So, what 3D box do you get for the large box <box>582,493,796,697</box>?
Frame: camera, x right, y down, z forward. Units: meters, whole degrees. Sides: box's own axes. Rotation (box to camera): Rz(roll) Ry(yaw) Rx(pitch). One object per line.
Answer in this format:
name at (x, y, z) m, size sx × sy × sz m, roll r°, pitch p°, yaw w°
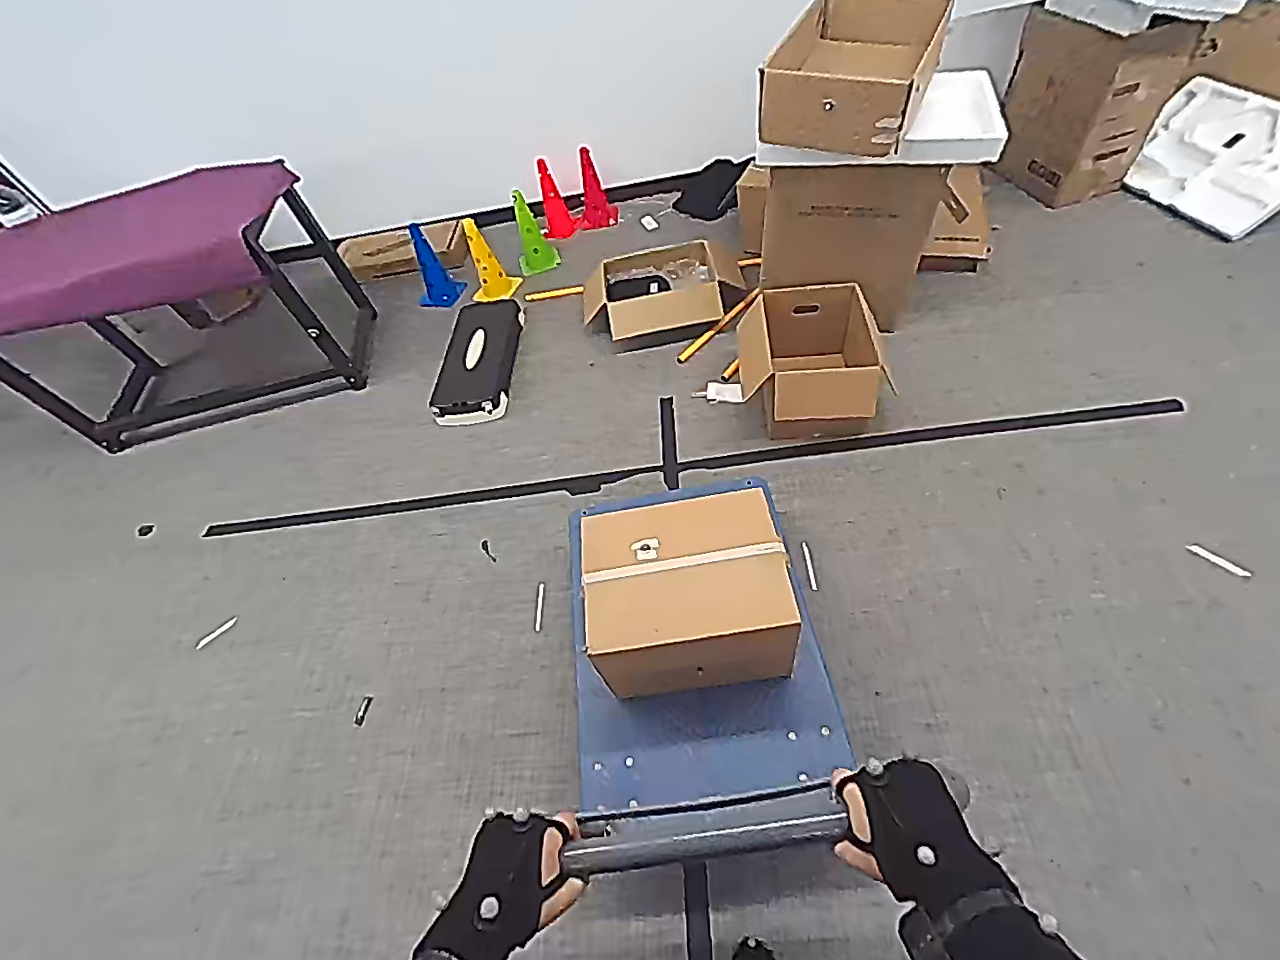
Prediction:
large box at (0.108, 0.271, 1.229) m, size 0.408 × 0.320 × 0.320 m, roll -11°, pitch 52°, yaw 4°
